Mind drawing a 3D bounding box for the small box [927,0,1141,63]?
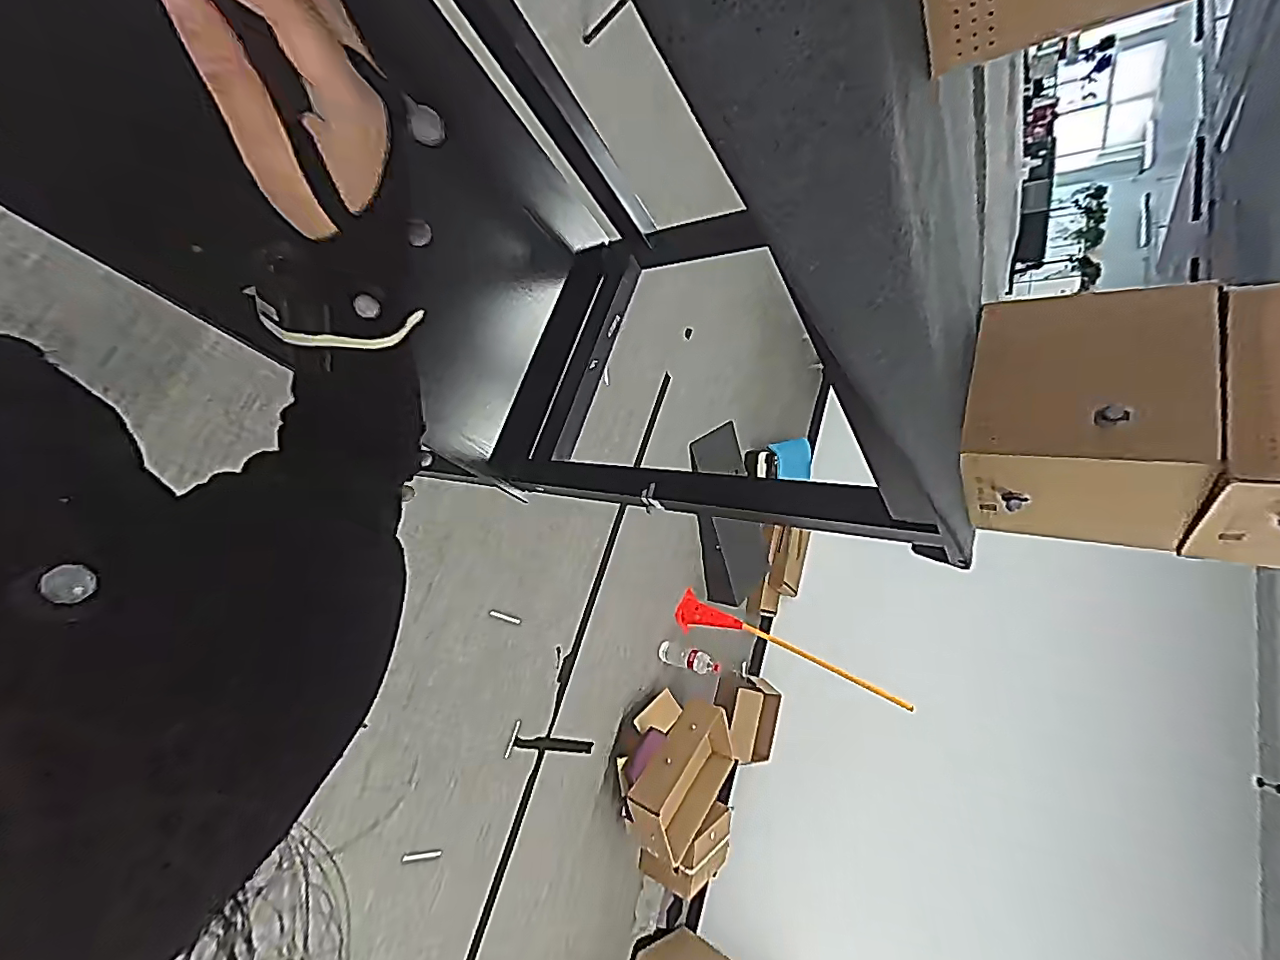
[{"bbox_3d":[0.195,-0.302,0.187,0.168,0.176,0.179,38,63,-49],"label":"small box"}]

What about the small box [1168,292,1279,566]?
[{"bbox_3d":[0.545,-0.036,0.421,0.168,0.176,0.179,39,64,-48],"label":"small box"}]
